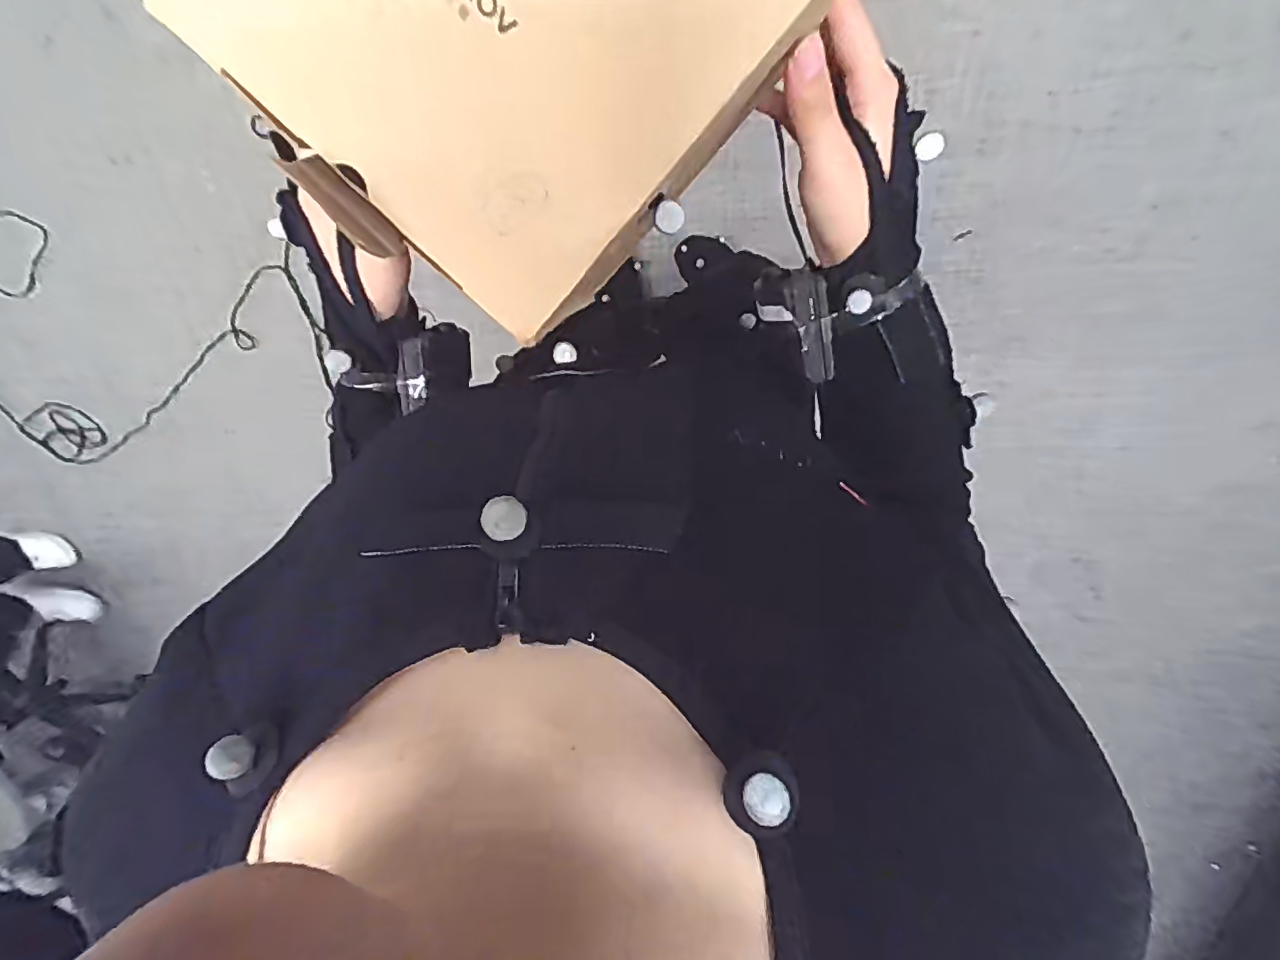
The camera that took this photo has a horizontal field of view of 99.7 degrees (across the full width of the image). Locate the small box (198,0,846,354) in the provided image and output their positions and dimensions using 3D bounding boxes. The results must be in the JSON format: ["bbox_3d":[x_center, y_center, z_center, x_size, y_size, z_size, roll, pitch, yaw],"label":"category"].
[{"bbox_3d":[-0.037,-0.192,0.253,0.168,0.176,0.179,41,113,-14],"label":"small box"}]
